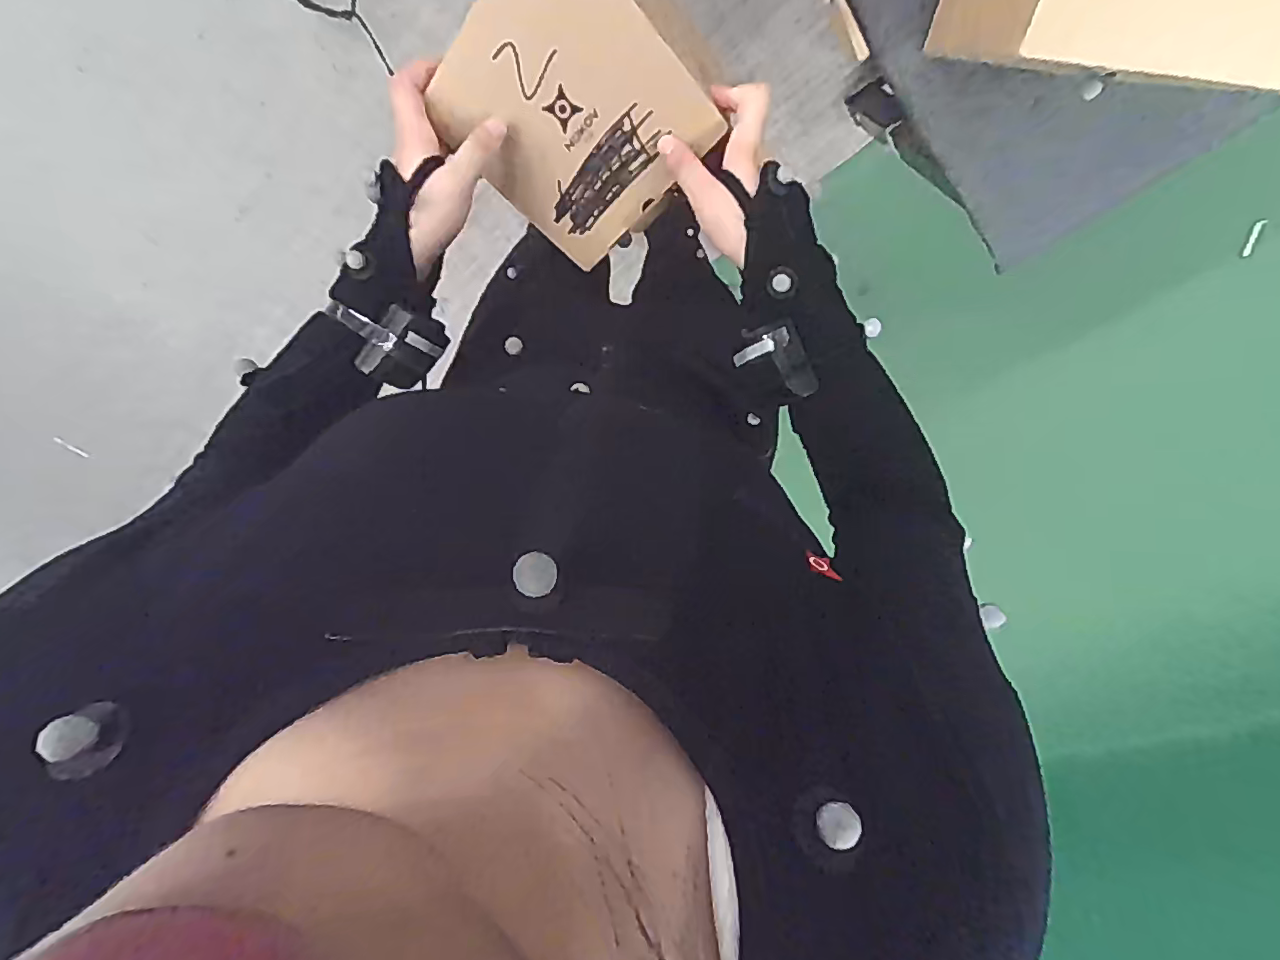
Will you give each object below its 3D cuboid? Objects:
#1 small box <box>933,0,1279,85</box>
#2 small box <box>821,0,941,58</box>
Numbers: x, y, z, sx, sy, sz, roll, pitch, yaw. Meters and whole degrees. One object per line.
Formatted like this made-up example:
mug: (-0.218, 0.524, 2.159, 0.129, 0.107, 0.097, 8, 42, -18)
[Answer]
small box: (0.314, -0.350, 0.324, 0.179, 0.176, 0.168, 7, 129, -1)
small box: (0.383, -0.831, 0.872, 0.168, 0.176, 0.179, -25, 126, 26)
